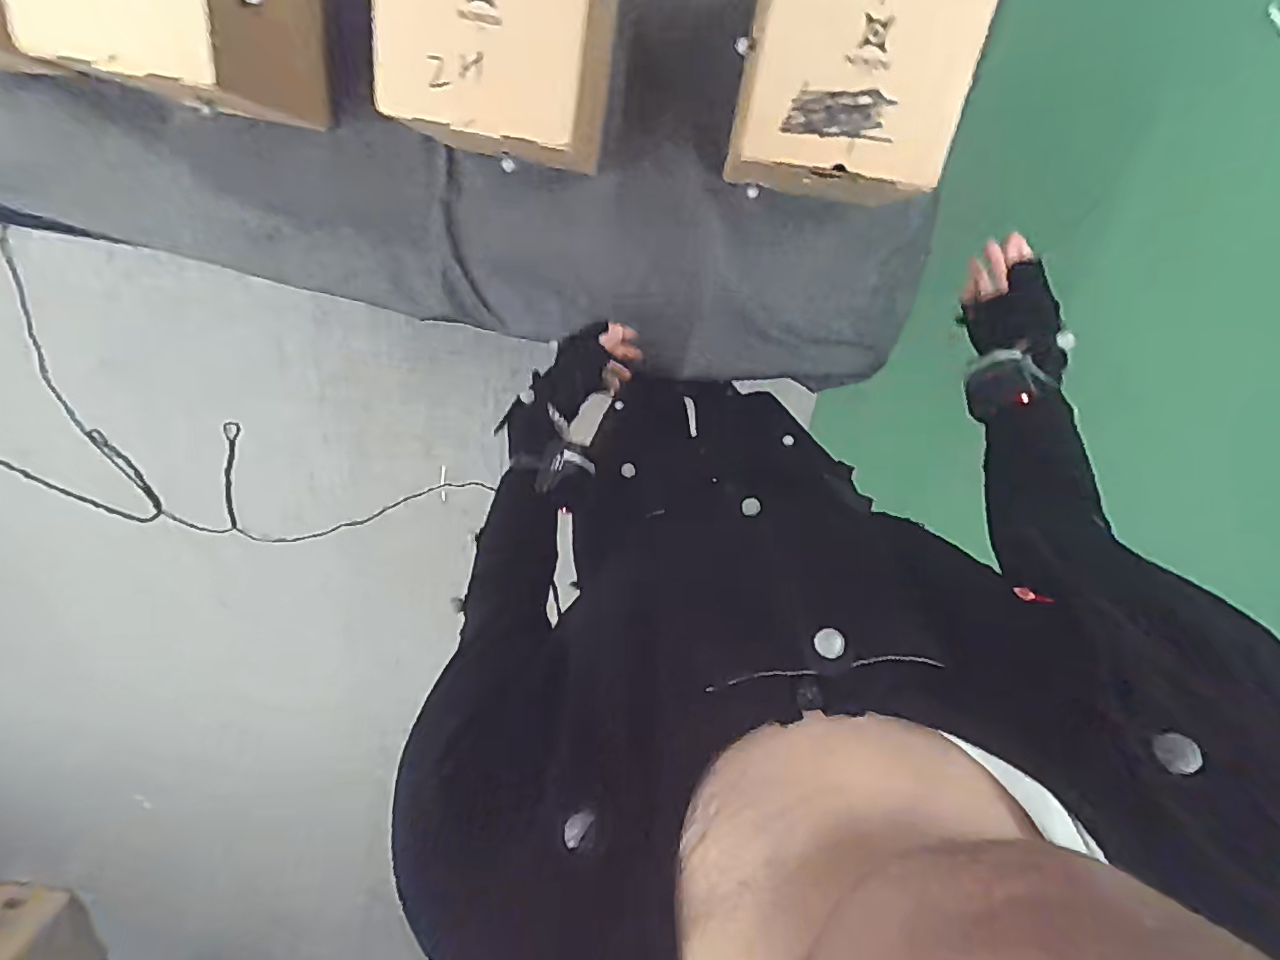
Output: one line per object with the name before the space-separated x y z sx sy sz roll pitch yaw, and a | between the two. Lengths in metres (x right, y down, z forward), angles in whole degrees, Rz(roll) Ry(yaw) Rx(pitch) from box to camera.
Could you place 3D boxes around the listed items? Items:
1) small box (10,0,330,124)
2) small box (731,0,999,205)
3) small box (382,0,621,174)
small box | -0.407 -0.451 0.486 0.168 0.176 0.179 10 114 -2
small box | 0.184 -0.361 0.492 0.168 0.176 0.179 10 113 -1
small box | -0.113 -0.400 0.491 0.168 0.176 0.179 11 113 -1
